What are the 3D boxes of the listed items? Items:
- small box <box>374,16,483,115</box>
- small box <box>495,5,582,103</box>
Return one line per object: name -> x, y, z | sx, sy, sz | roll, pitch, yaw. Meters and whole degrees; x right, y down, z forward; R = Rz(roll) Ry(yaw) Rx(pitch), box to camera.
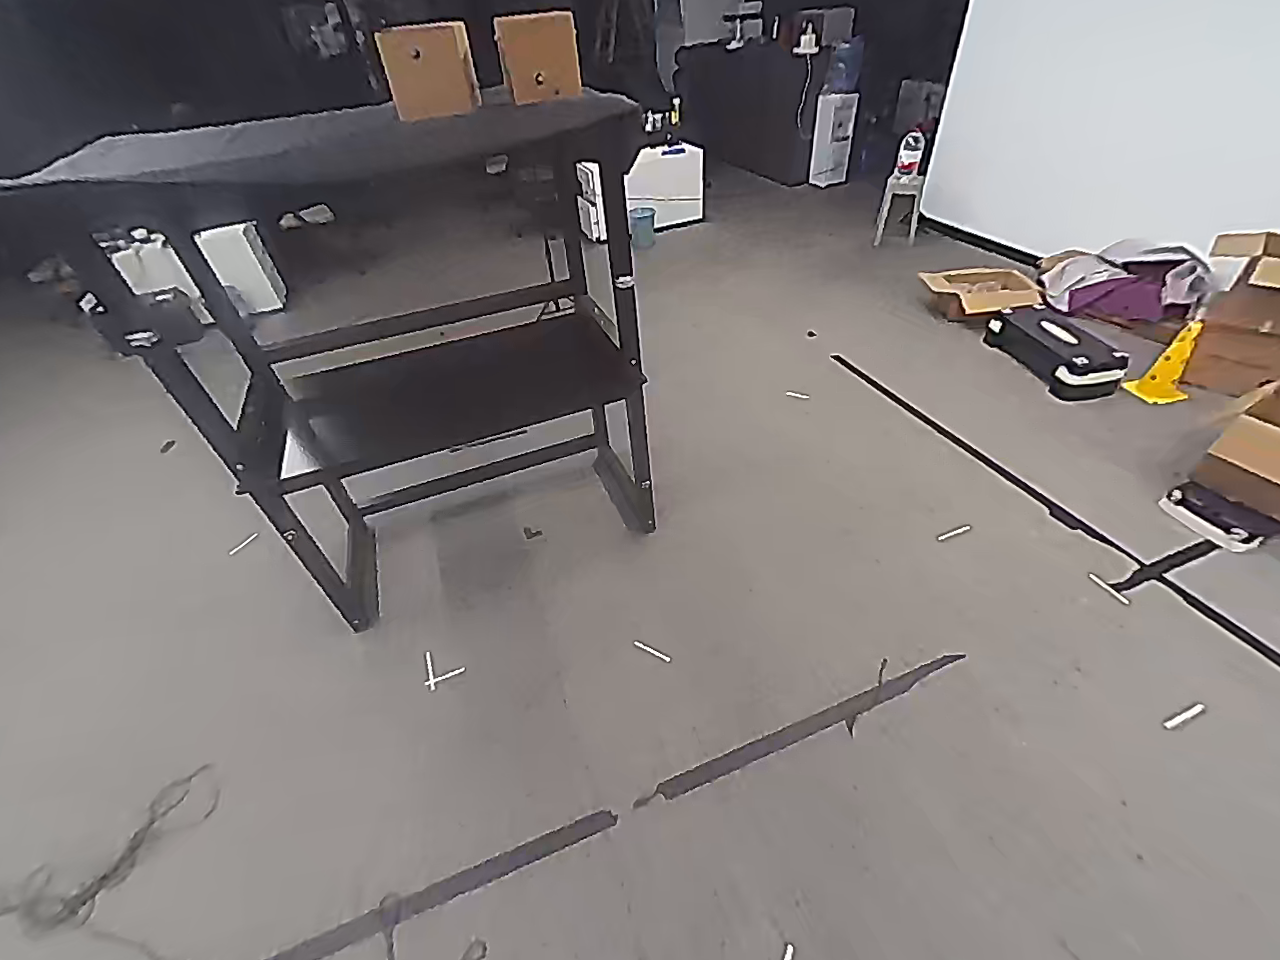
small box -> -0.490, -0.979, 1.279 | 0.179, 0.176, 0.168 | -6, 42, -1
small box -> -0.242, -1.020, 1.296 | 0.168, 0.176, 0.179 | -14, 43, -9
